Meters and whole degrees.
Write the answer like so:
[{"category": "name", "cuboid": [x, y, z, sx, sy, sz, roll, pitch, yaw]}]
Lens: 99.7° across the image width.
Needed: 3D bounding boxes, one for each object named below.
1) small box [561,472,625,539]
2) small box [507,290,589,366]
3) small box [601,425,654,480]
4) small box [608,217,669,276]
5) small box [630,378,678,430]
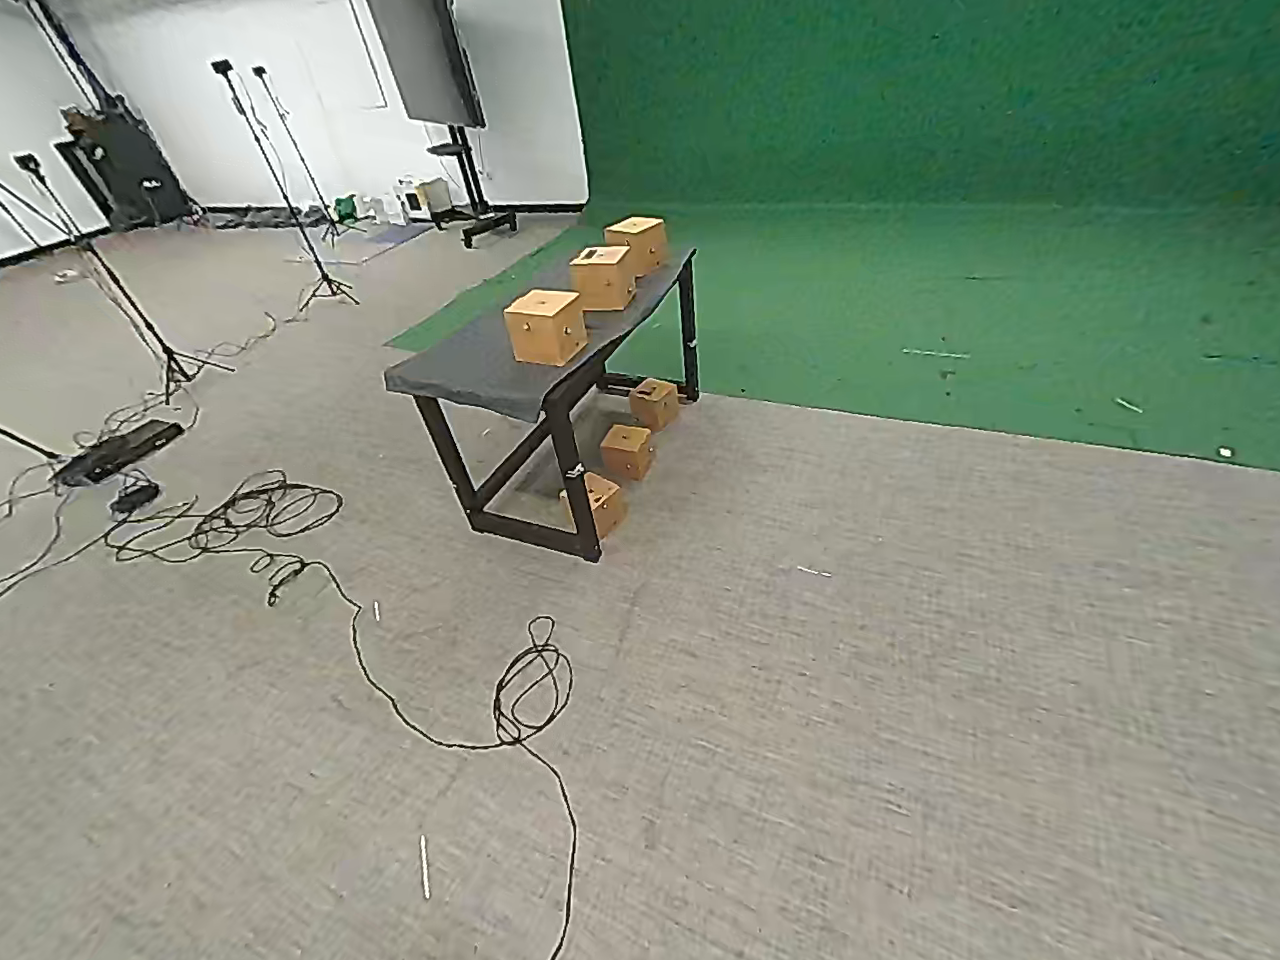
[{"category": "small box", "cuboid": [-0.179, 0.102, 2.117, 0.179, 0.176, 0.168, 26, 51, 34]}, {"category": "small box", "cuboid": [-0.276, -0.469, 1.674, 0.179, 0.176, 0.168, 13, 45, 23]}, {"category": "small box", "cuboid": [-0.048, -0.117, 2.348, 0.179, 0.176, 0.168, 9, 43, 20]}, {"category": "small box", "cuboid": [0.000, -0.929, 2.156, 0.179, 0.176, 0.168, 28, 52, 37]}, {"category": "small box", "cuboid": [0.076, -0.368, 2.618, 0.168, 0.176, 0.179, 22, 48, 30]}]
